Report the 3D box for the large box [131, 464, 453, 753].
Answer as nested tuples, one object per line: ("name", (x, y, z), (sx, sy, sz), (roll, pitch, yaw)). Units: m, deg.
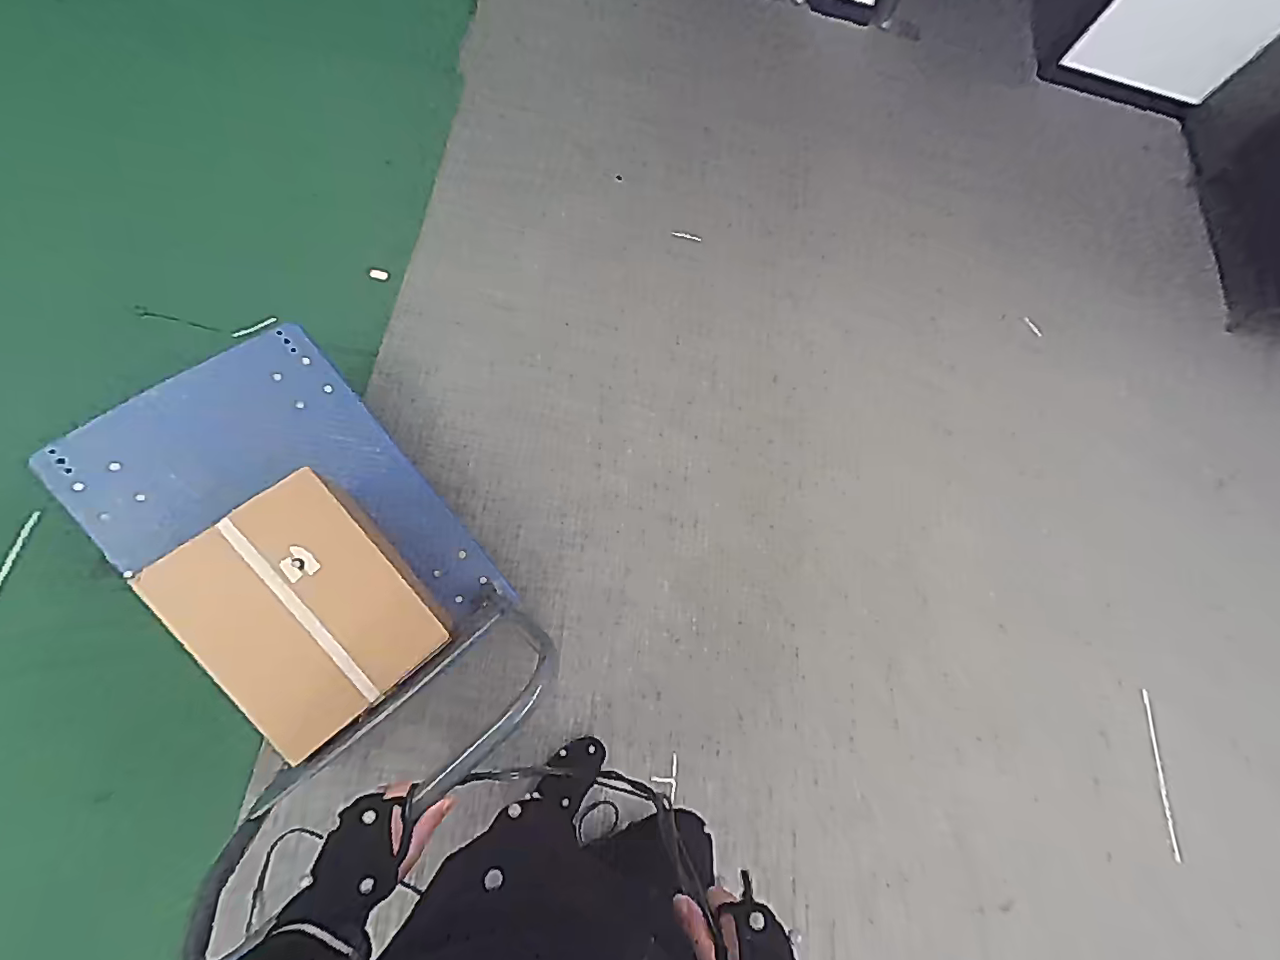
("large box", (-0.627, 0.235, 1.068), (0.320, 0.320, 0.408), (-40, 94, -20))
